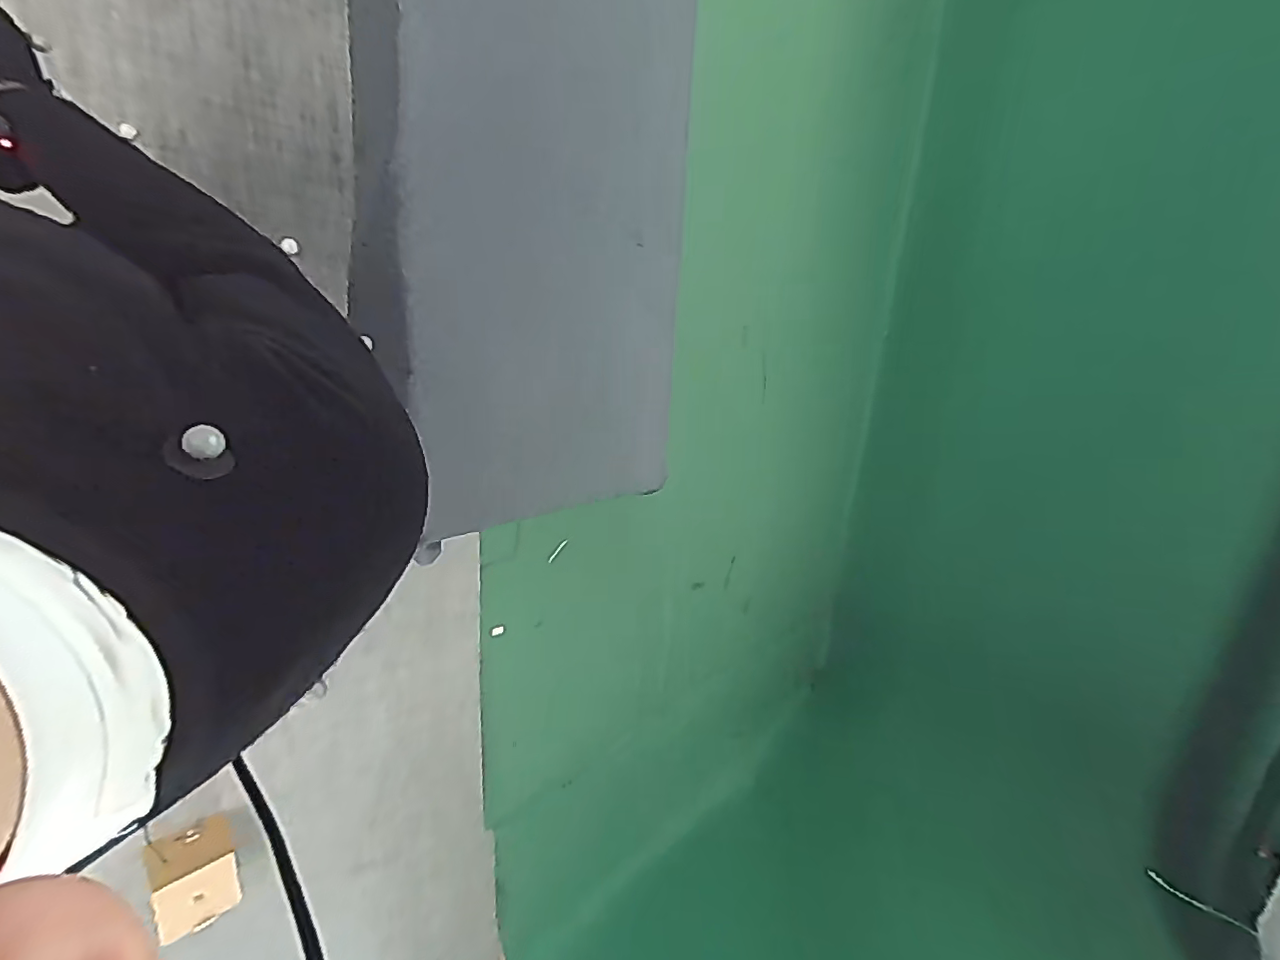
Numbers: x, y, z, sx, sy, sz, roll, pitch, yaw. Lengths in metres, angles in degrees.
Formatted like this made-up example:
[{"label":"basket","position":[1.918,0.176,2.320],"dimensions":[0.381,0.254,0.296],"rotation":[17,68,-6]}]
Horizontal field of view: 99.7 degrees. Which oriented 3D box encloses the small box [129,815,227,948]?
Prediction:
[{"label":"small box","position":[-1.184,1.016,1.387],"dimensions":[0.168,0.176,0.179],"rotation":[-10,112,-47]}]
